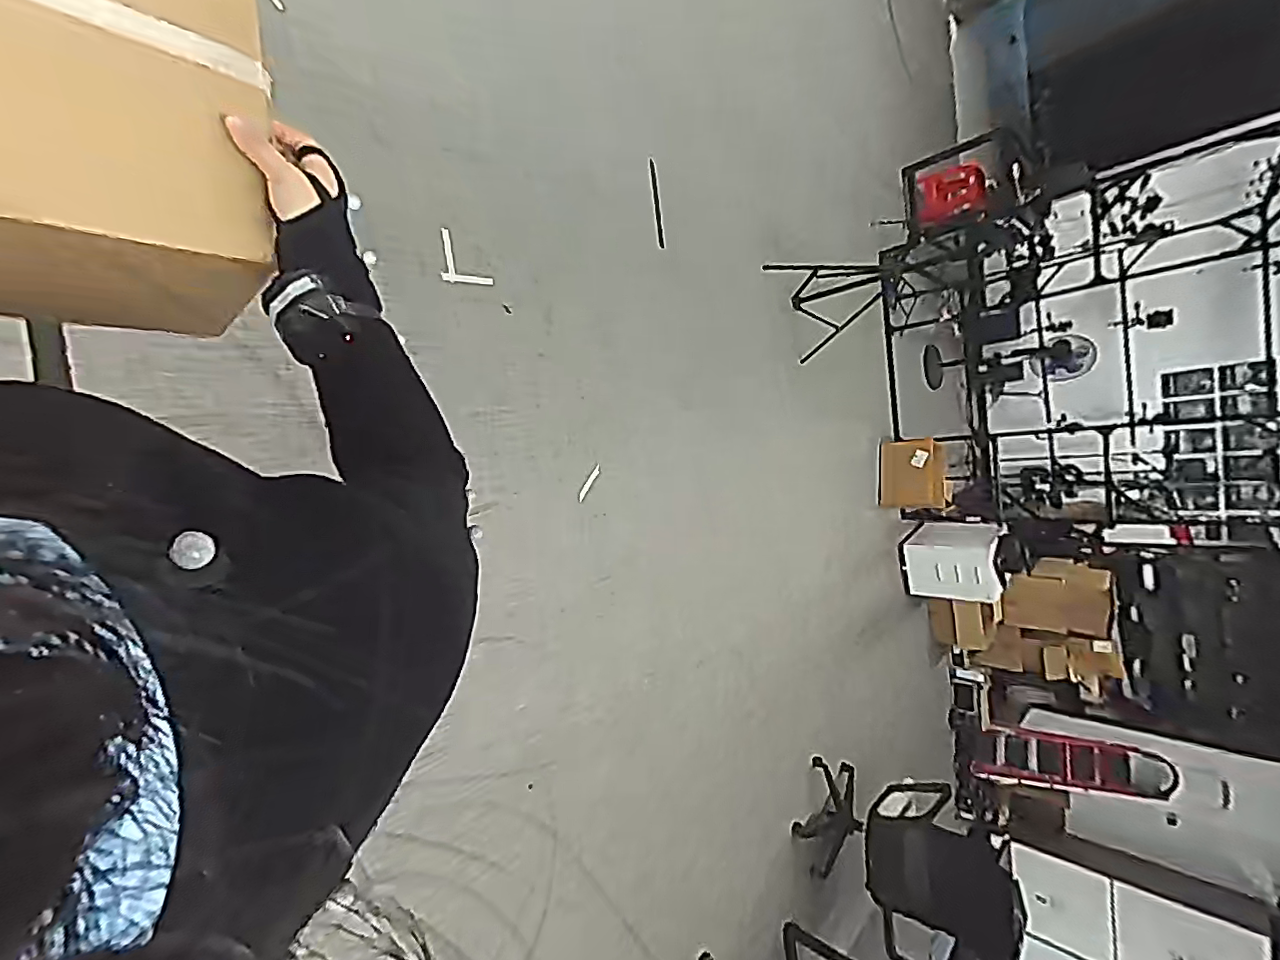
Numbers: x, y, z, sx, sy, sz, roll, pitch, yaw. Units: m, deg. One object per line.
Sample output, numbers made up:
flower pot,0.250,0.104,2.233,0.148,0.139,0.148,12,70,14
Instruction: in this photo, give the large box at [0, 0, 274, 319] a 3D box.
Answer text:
large box,-0.573,-0.332,0.430,0.408,0.320,0.320,-6,93,-45
